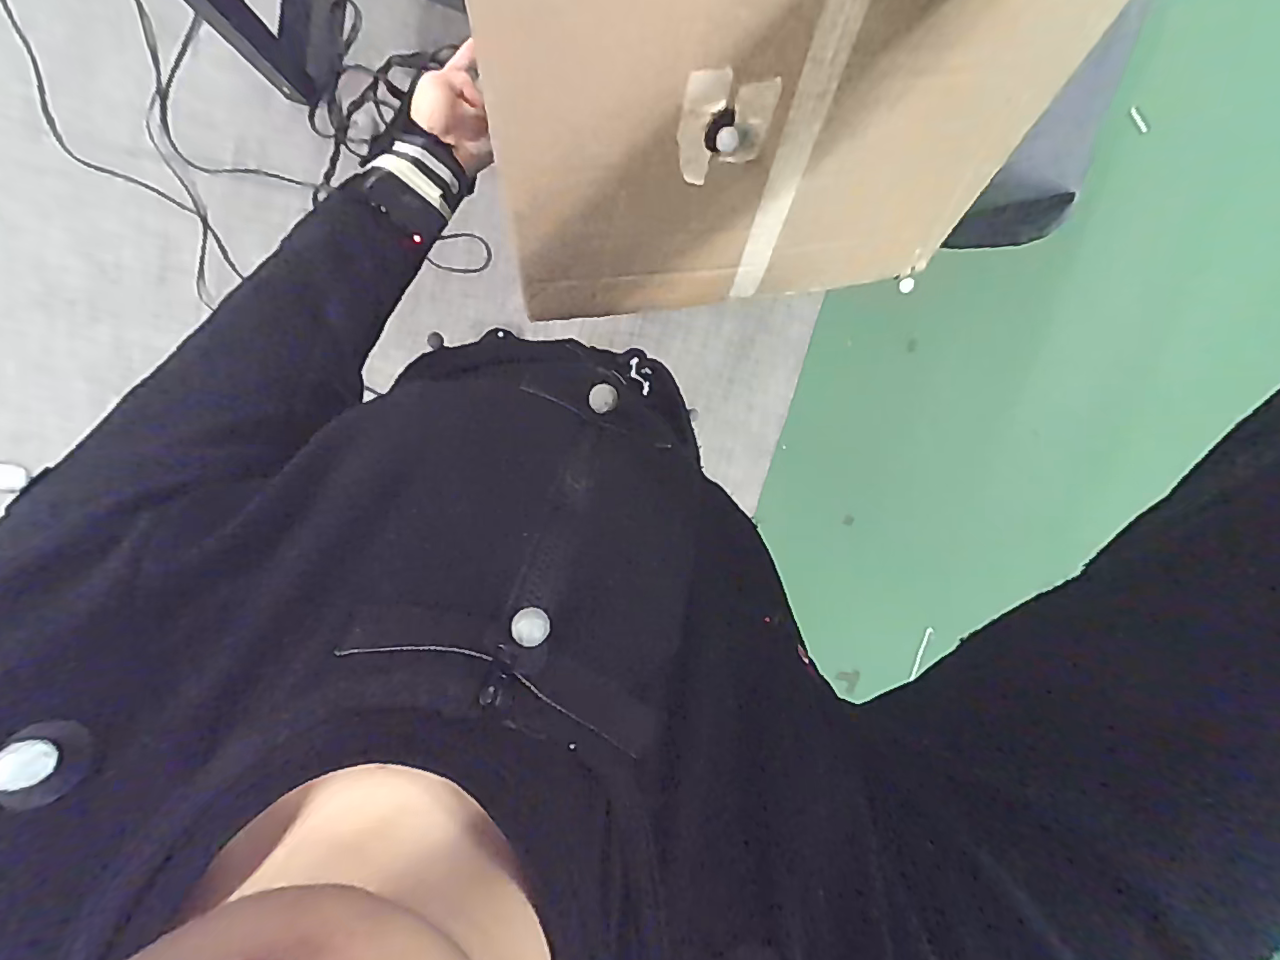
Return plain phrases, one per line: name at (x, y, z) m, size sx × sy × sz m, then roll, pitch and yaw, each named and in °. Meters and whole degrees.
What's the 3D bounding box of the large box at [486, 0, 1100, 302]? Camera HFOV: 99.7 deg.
large box at (0.062, -0.368, 0.285) m, size 0.320 × 0.408 × 0.320 m, roll -11°, pitch 70°, yaw -9°
